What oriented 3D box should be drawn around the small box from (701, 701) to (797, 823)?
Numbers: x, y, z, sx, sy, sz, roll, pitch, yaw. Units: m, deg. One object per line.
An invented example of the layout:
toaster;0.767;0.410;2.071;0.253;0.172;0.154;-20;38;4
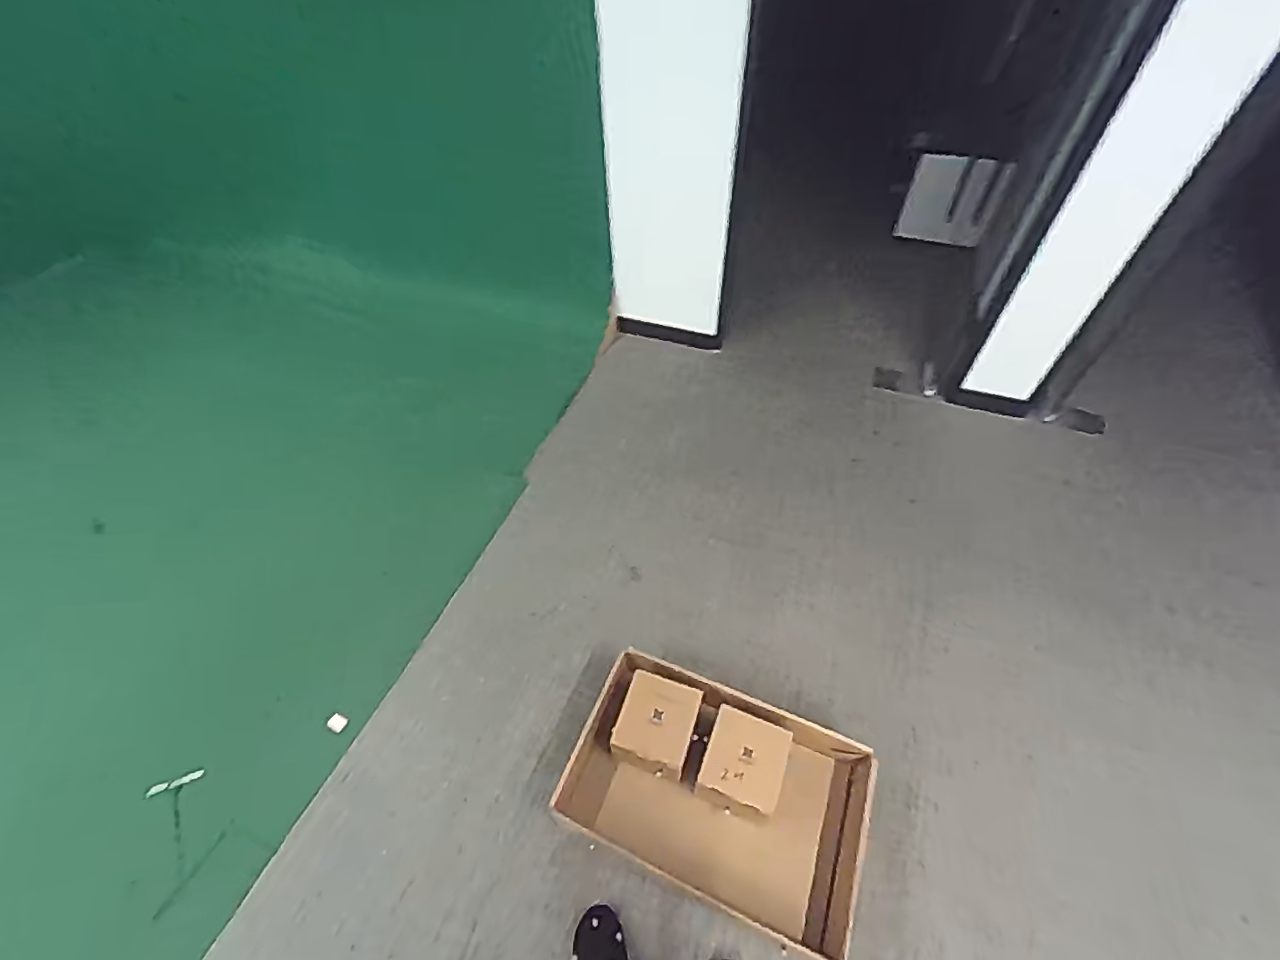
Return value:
small box;0.239;0.635;1.214;0.168;0.176;0.179;18;55;17
